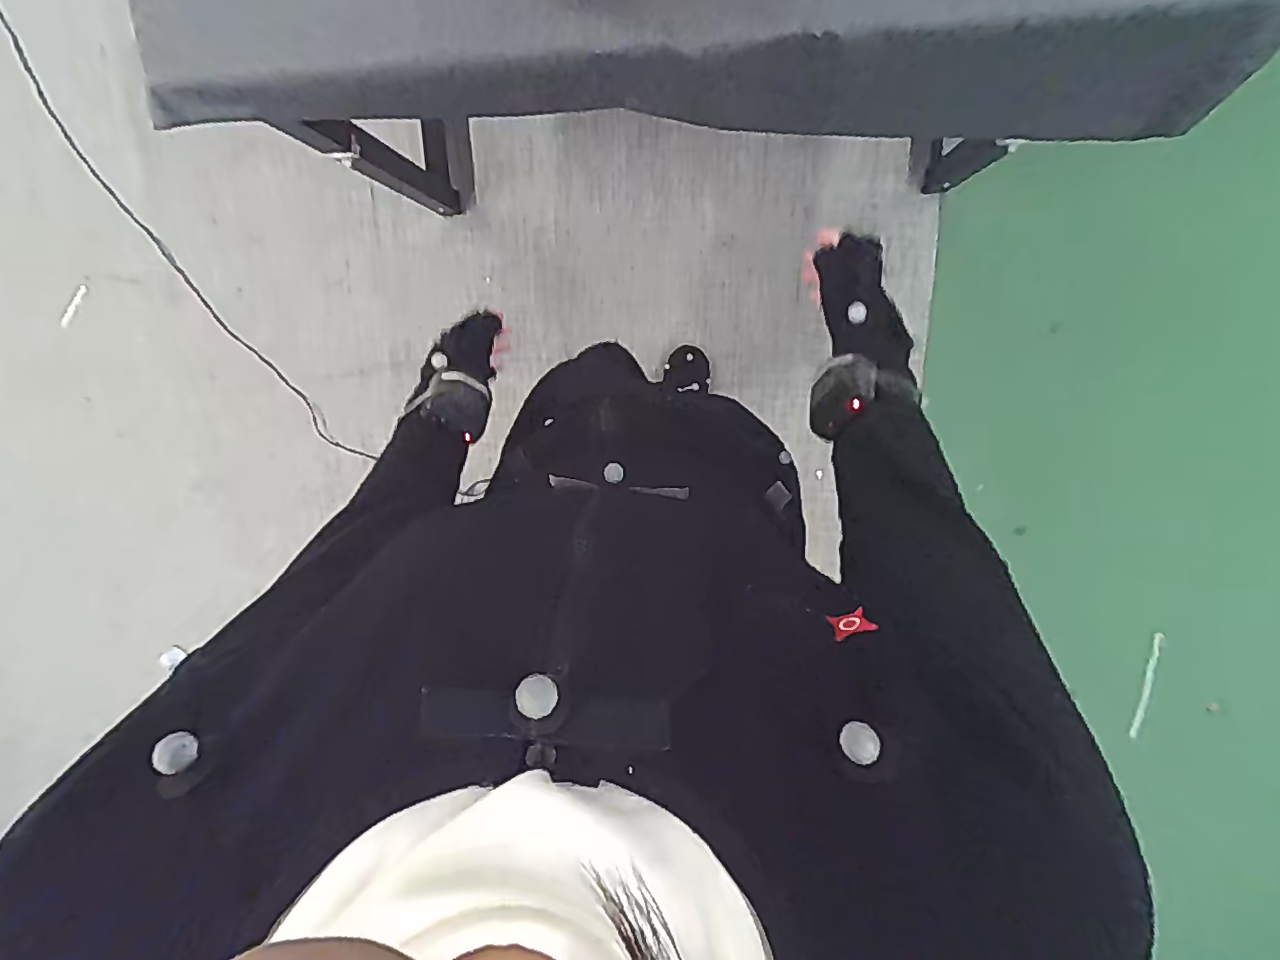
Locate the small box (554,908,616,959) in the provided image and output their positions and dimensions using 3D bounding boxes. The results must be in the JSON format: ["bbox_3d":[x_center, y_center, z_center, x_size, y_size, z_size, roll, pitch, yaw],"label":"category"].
[{"bbox_3d":[-0.172,1.519,1.734,0.179,0.176,0.168,-2,105,5],"label":"small box"}]
